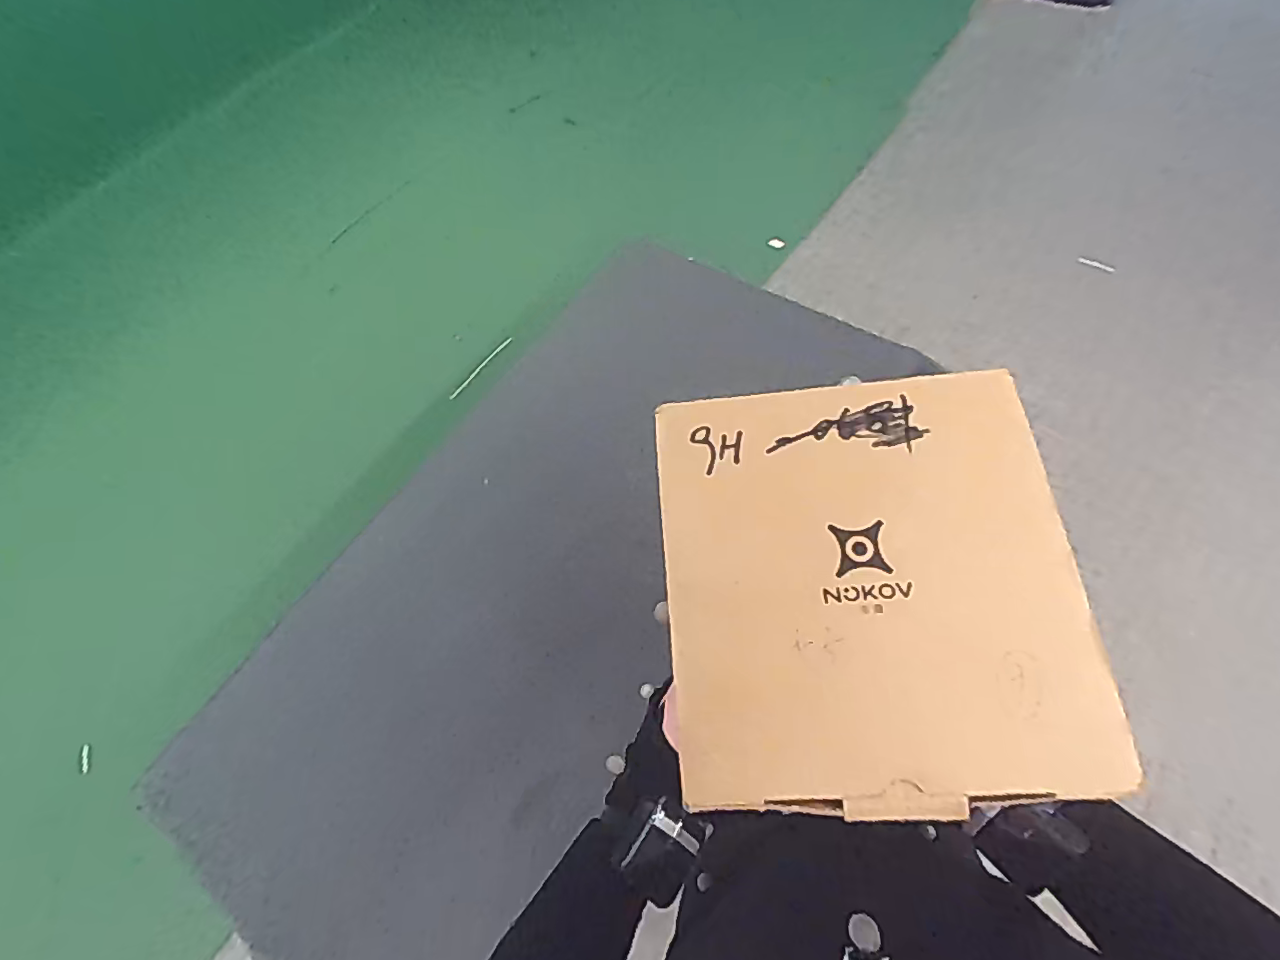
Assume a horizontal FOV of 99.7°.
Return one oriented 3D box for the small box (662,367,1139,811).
[{"bbox_3d":[0.105,0.061,0.301,0.168,0.176,0.179,-5,73,6],"label":"small box"}]
